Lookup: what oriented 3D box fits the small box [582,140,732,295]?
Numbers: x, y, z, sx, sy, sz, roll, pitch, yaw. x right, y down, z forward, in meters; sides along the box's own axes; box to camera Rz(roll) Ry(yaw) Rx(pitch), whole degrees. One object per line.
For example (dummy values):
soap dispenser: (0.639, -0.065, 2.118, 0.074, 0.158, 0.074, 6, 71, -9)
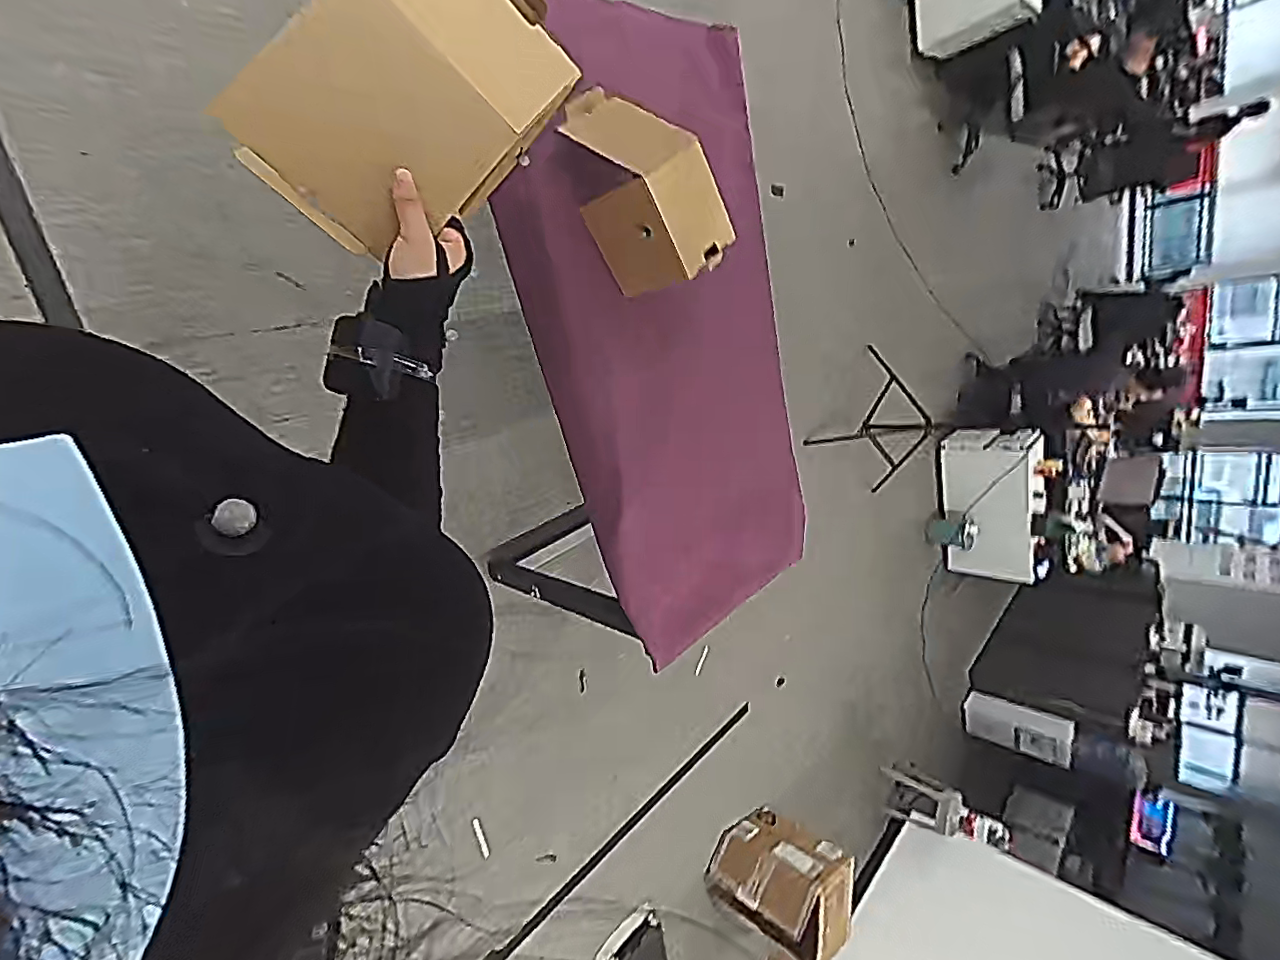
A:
small box: (0.029, -0.456, 0.961, 0.168, 0.176, 0.179, -48, 124, -28)
